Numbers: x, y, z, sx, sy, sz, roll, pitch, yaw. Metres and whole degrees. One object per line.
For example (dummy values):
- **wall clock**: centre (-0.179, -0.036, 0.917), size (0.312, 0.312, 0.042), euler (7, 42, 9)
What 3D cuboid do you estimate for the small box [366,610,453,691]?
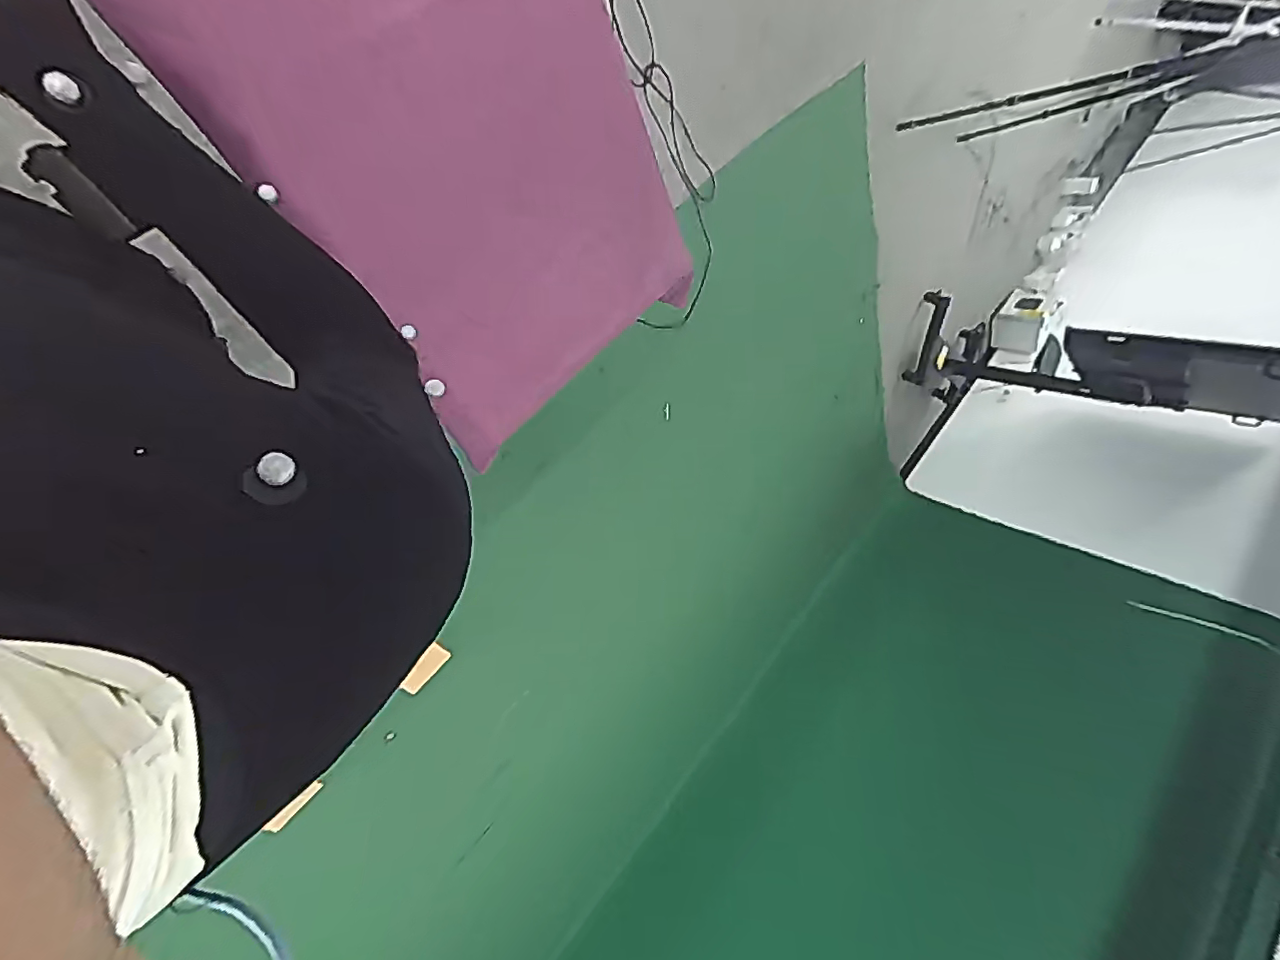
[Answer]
- **small box**: centre (-0.769, 0.558, 1.798), size (0.168, 0.176, 0.179), euler (-47, 136, -19)
